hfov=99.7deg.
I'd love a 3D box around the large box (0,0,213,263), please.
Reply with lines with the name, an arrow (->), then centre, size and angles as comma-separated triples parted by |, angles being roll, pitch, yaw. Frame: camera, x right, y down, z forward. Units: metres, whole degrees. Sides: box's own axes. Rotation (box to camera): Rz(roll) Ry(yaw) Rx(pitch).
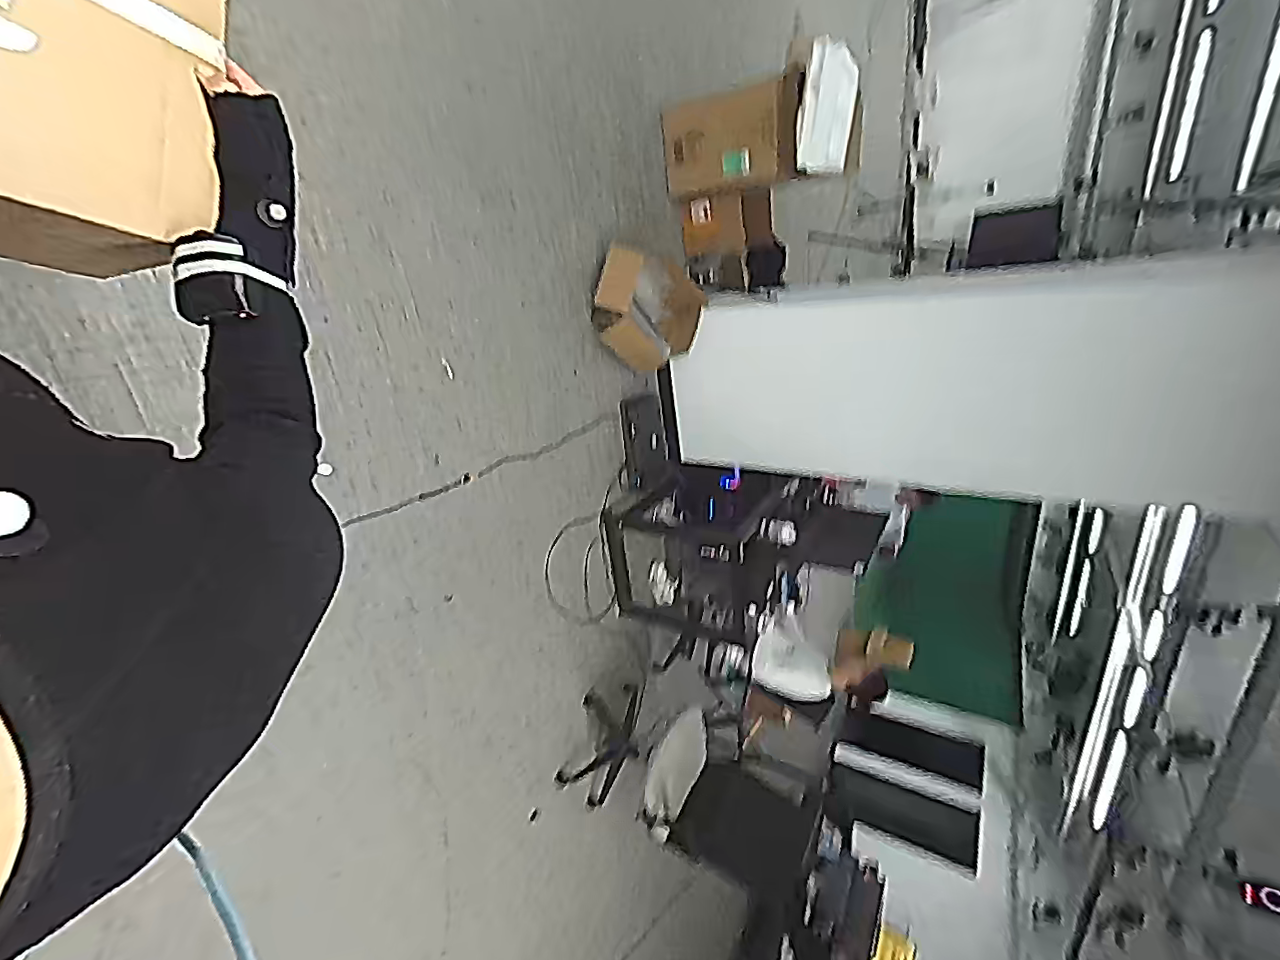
large box -> -0.586, -0.370, 0.358 | 0.408, 0.320, 0.320 | -3, 100, -58
